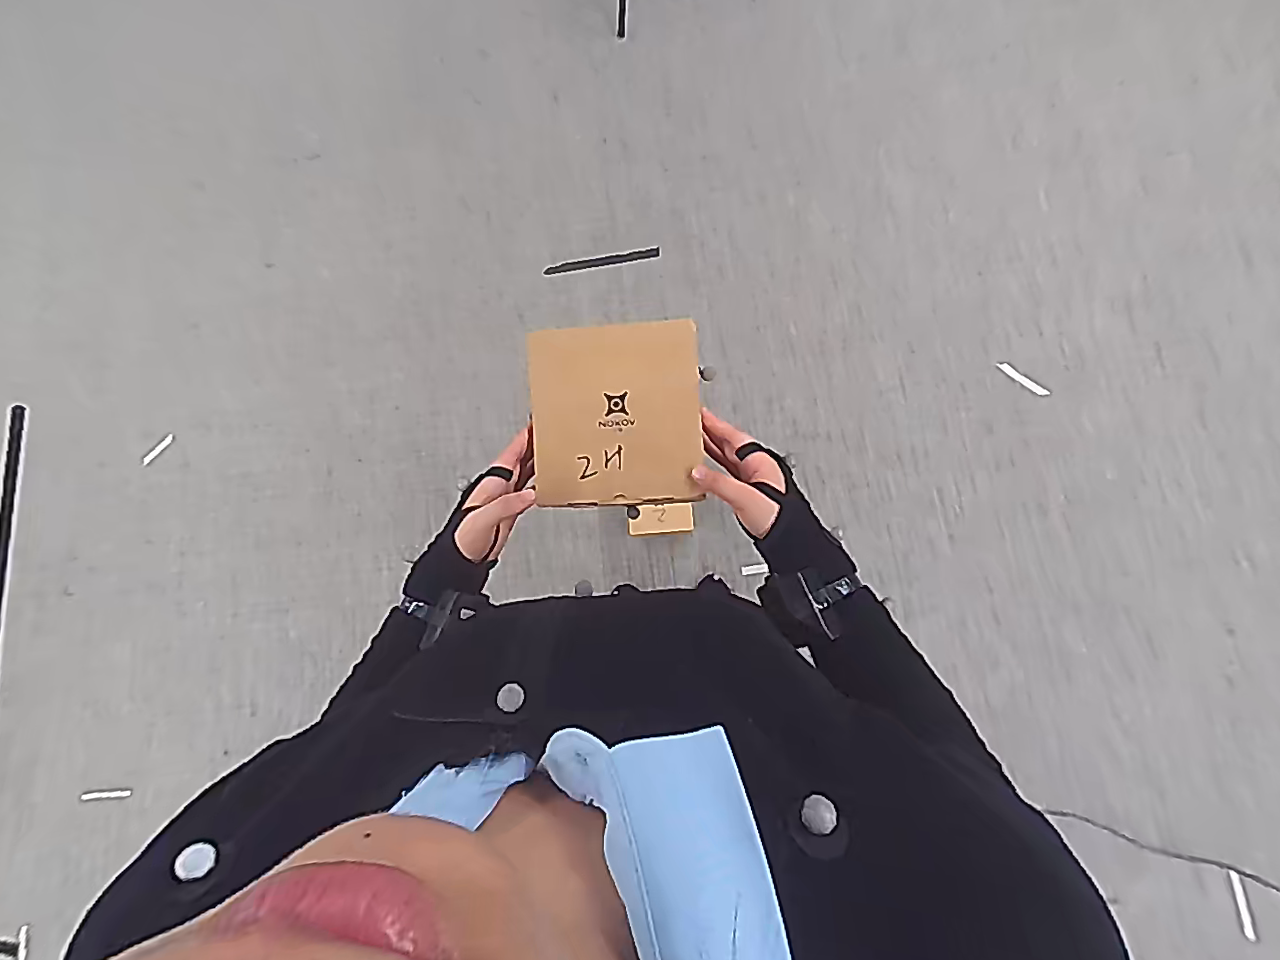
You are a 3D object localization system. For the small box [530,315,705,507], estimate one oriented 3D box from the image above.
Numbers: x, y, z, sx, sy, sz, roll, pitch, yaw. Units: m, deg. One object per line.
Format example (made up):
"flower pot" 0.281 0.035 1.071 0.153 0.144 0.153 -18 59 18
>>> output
"small box" -0.016 -0.062 0.593 0.168 0.176 0.179 -3 86 6
